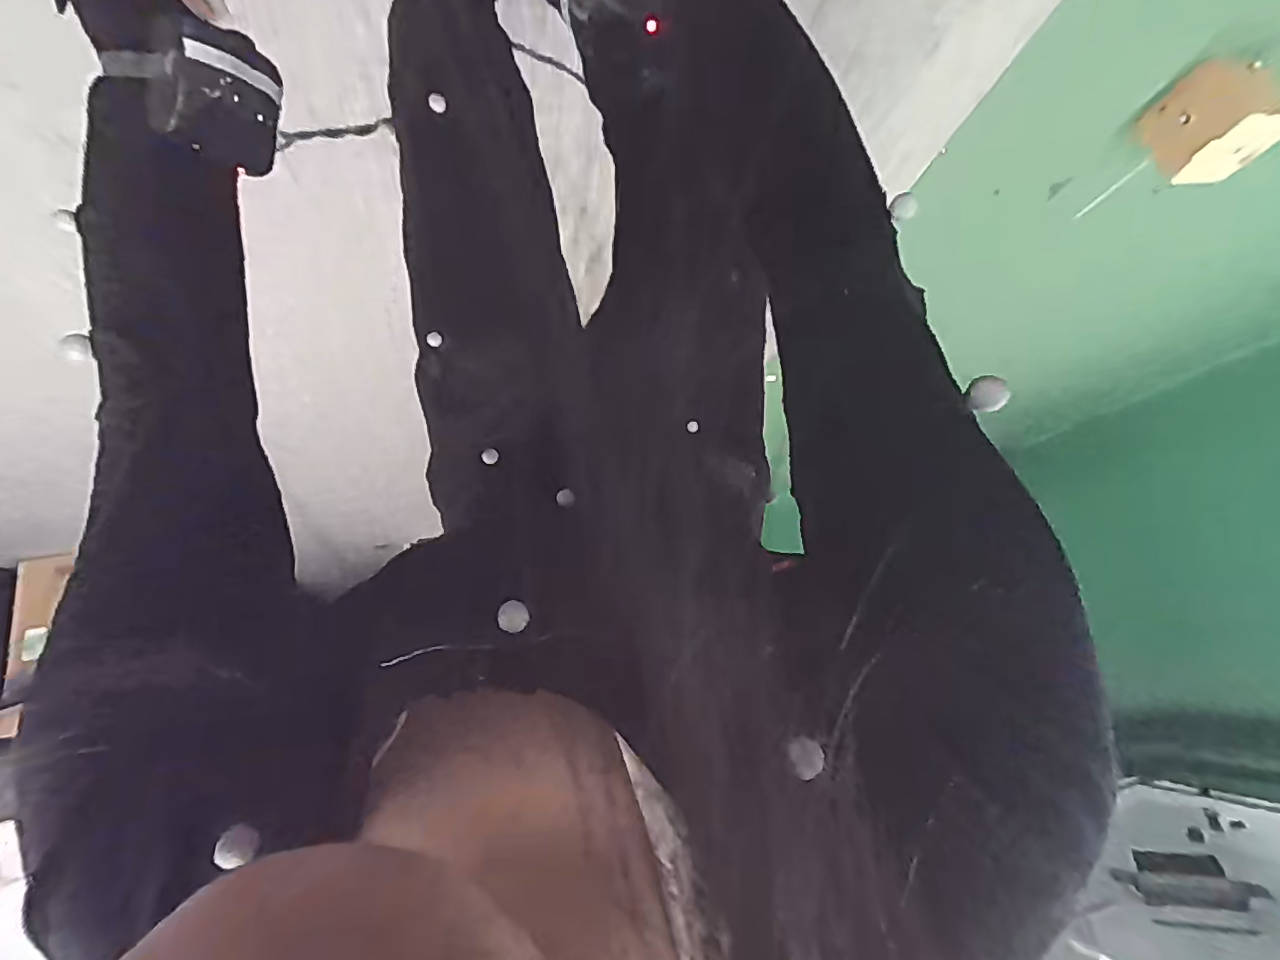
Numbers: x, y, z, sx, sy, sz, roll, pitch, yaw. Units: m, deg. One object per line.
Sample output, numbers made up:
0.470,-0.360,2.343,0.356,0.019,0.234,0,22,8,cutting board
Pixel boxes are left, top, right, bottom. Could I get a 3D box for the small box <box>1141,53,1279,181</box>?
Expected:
1.258,-0.782,1.171,0.179,0.176,0.168,-7,164,-13,small box
